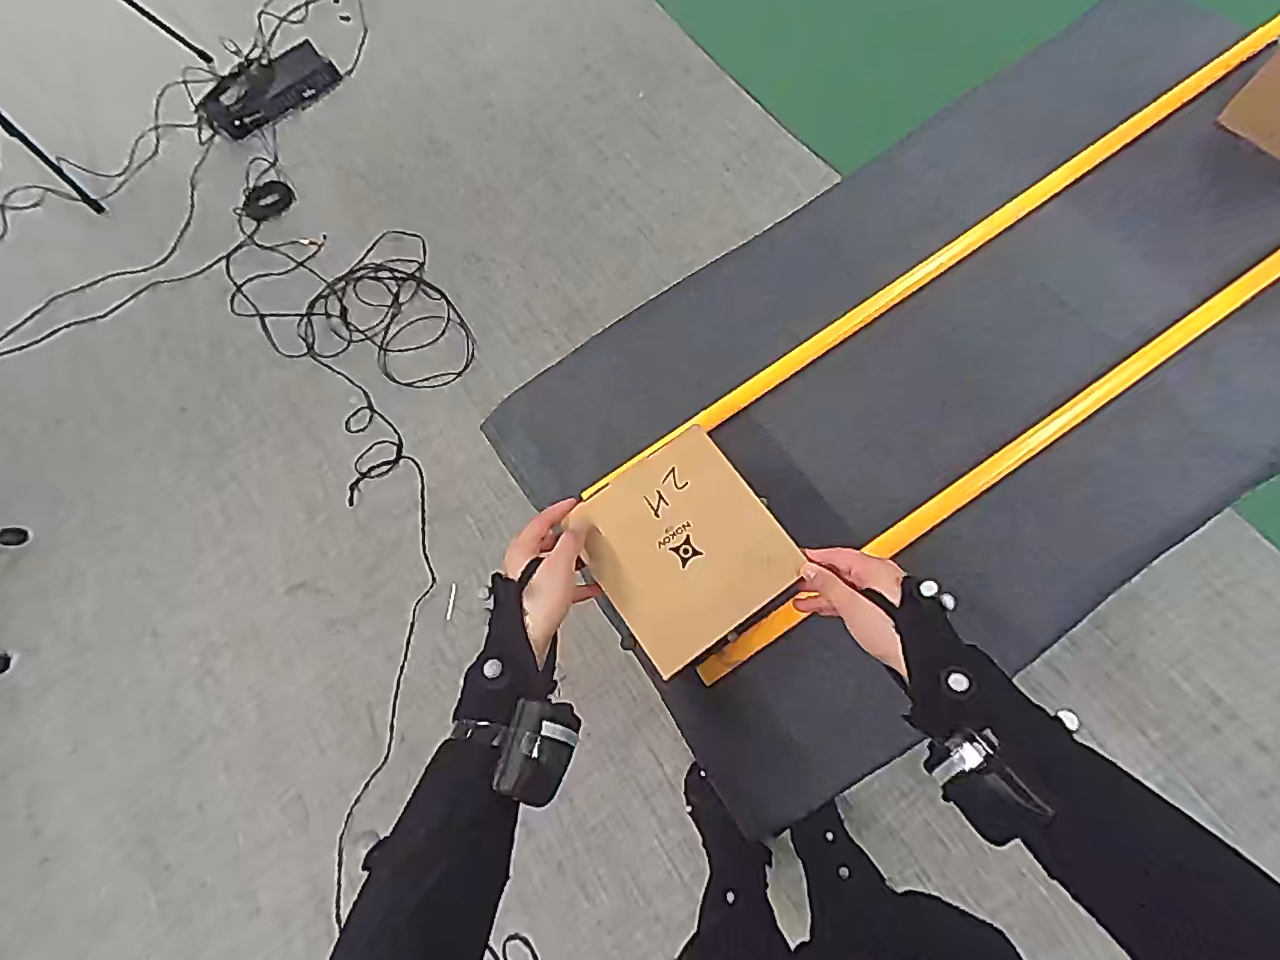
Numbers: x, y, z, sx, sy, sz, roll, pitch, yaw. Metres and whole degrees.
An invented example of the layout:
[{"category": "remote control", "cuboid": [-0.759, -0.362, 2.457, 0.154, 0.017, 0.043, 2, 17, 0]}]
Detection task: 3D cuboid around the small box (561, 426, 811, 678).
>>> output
[{"category": "small box", "cuboid": [0.044, 0.078, 0.568, 0.168, 0.176, 0.179, -35, 76, -6]}]
